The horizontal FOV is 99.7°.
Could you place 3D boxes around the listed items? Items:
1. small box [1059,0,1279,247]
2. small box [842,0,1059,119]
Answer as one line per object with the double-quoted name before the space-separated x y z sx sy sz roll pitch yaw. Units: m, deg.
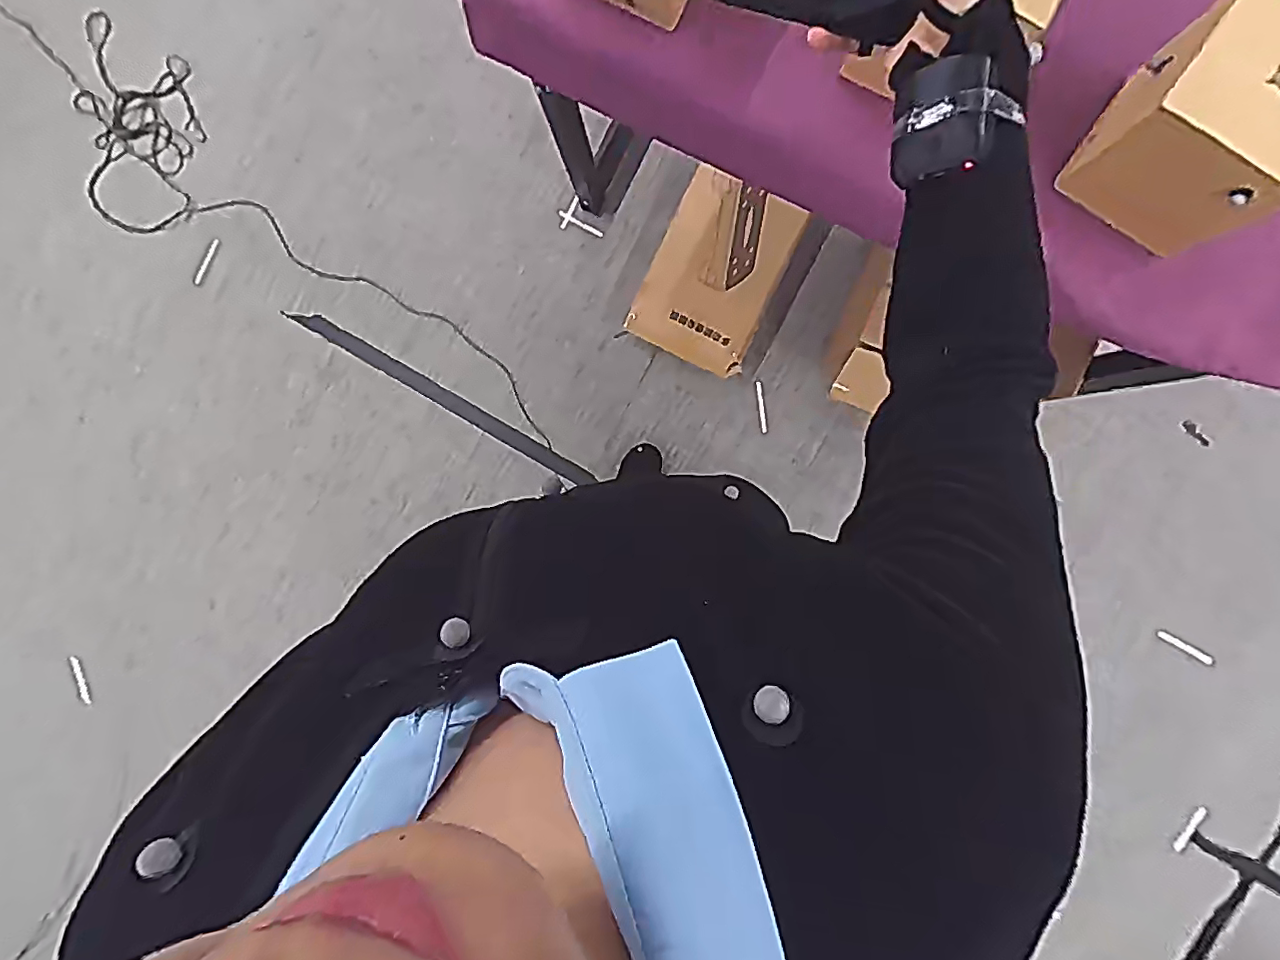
"small box" 0.641 -0.399 0.612 0.179 0.176 0.168 34 94 2
"small box" 0.369 -0.564 0.622 0.179 0.176 0.168 27 92 2
